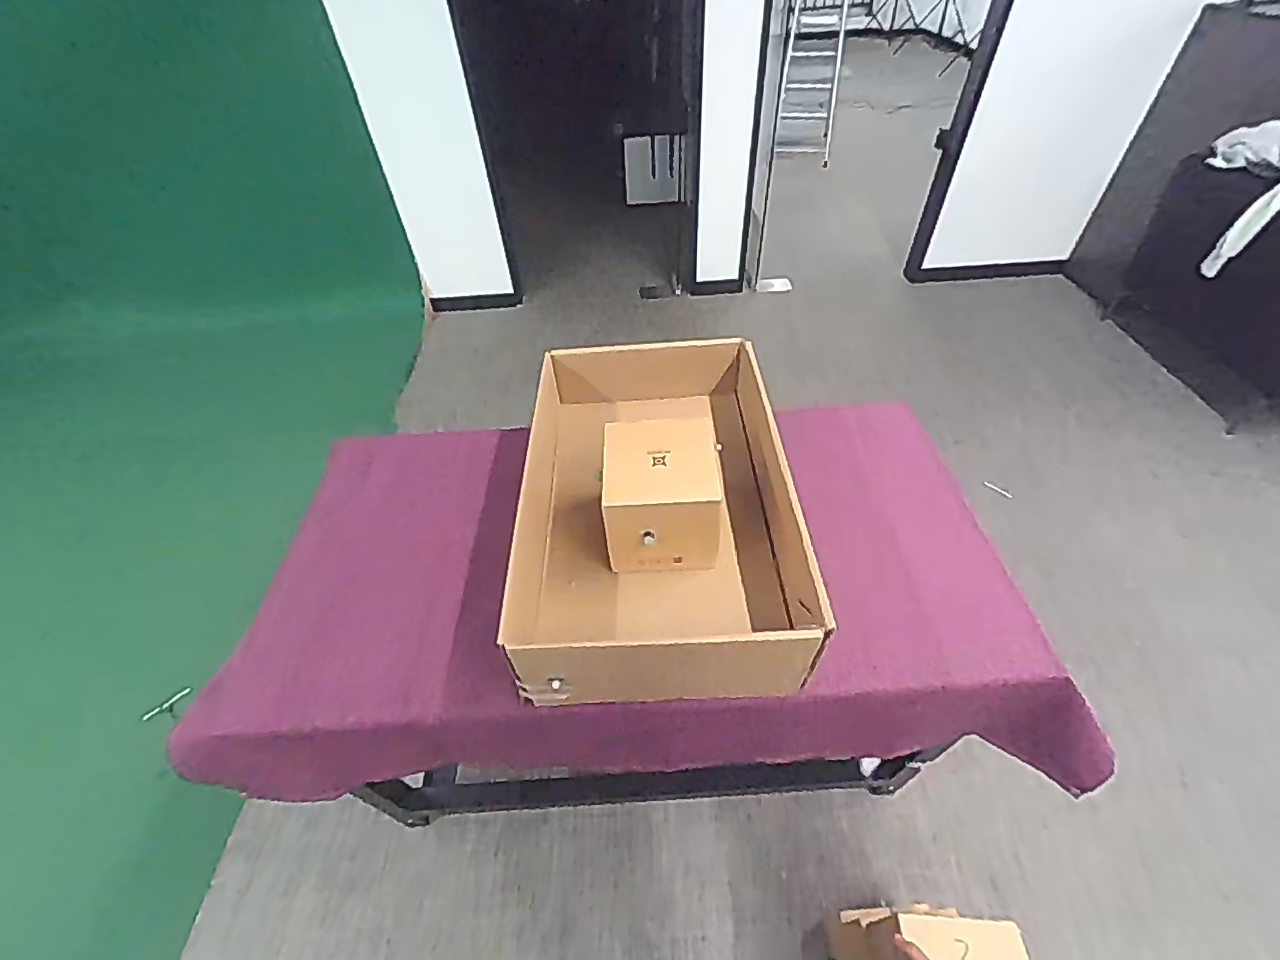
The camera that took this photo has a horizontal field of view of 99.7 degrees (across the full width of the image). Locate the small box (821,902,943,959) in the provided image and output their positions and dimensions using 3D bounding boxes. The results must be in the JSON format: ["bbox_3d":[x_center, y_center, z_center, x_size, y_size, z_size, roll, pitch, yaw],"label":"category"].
[{"bbox_3d":[0.471,0.931,1.047,0.179,0.176,0.168,-5,48,0],"label":"small box"}]

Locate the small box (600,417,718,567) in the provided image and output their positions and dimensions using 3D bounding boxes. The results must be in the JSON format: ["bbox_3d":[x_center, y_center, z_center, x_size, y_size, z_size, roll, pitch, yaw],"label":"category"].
[{"bbox_3d":[0.032,0.025,0.846,0.168,0.176,0.179,-3,46,2],"label":"small box"}]
